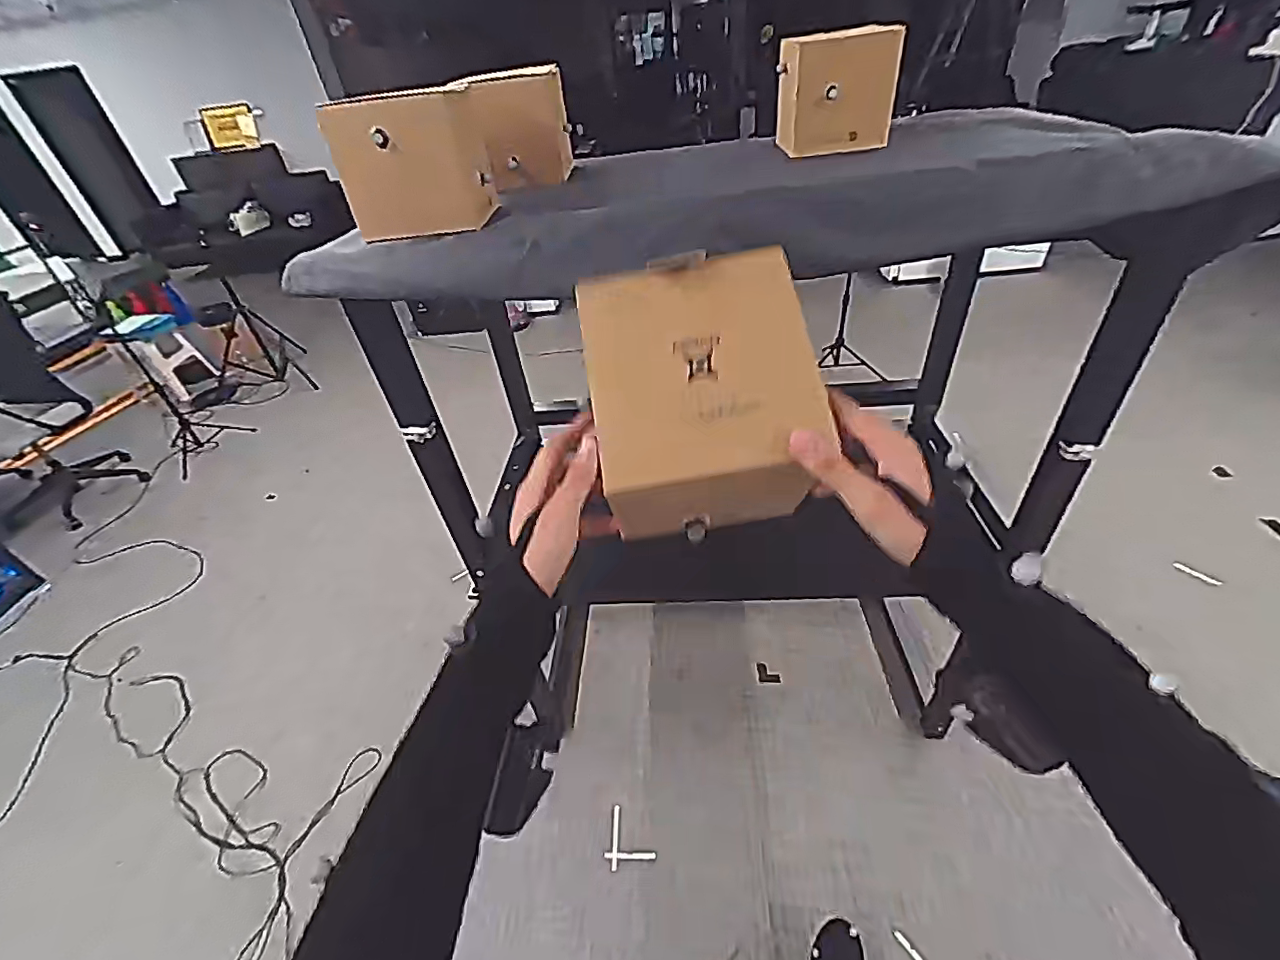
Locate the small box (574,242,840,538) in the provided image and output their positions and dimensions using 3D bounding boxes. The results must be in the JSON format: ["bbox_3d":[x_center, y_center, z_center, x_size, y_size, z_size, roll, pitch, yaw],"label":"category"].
[{"bbox_3d":[0.044,-0.064,0.460,0.168,0.176,0.179,-10,71,0],"label":"small box"}]

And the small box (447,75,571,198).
[{"bbox_3d":[-0.232,-0.642,1.013,0.179,0.176,0.168,-4,39,3],"label":"small box"}]

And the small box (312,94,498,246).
[{"bbox_3d":[-0.328,-0.456,0.797,0.179,0.176,0.168,-5,38,2],"label":"small box"}]

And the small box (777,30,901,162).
[{"bbox_3d":[0.342,-0.681,0.966,0.168,0.176,0.179,-4,39,5],"label":"small box"}]
